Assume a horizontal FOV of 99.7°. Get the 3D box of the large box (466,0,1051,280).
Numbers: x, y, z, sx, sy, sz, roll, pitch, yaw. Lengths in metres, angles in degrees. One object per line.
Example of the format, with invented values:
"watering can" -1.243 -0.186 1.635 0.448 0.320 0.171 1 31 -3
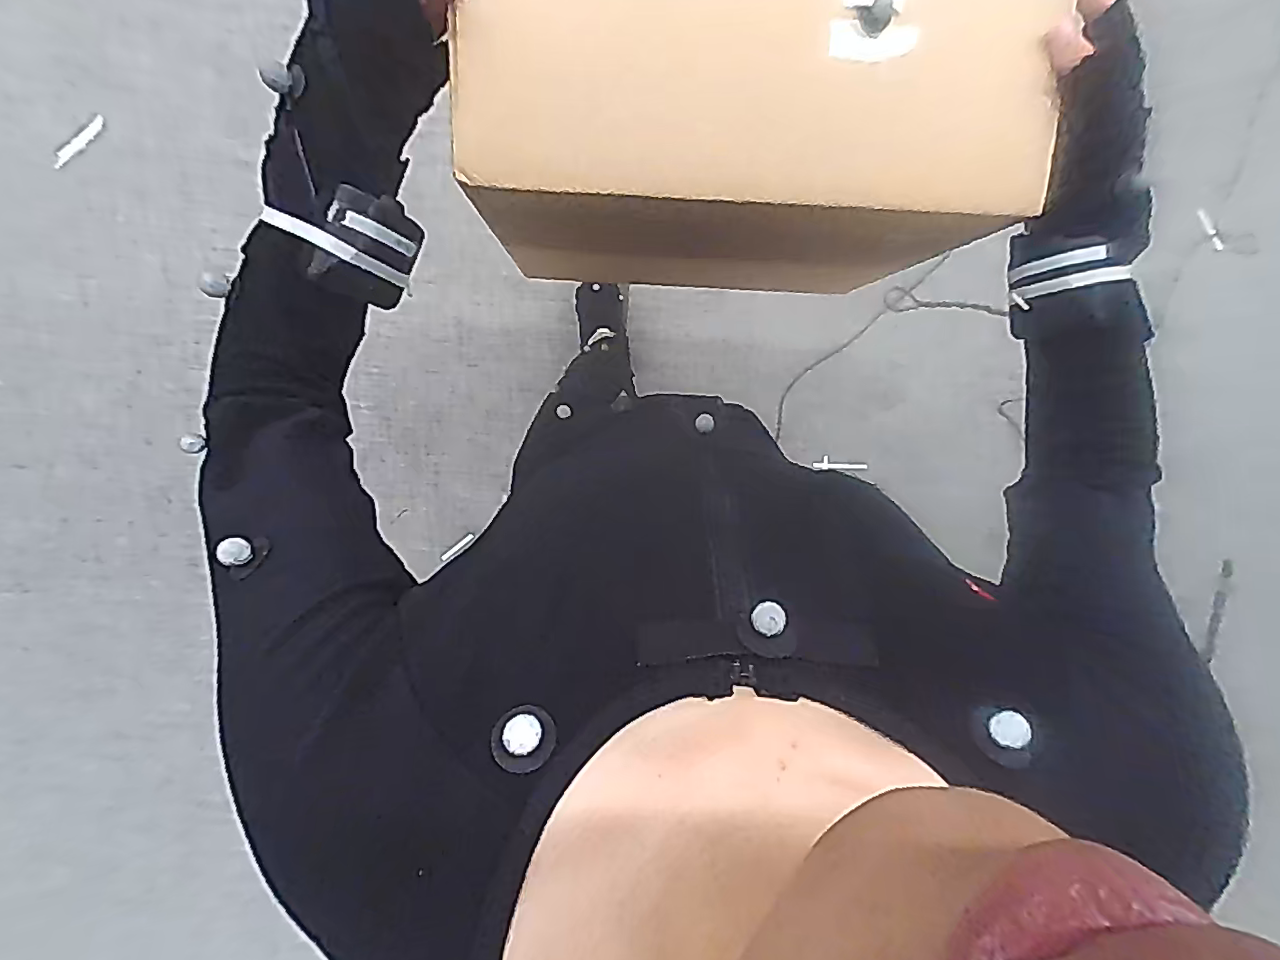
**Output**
"large box" 0.073 -0.378 0.501 0.408 0.320 0.320 0 100 -4
